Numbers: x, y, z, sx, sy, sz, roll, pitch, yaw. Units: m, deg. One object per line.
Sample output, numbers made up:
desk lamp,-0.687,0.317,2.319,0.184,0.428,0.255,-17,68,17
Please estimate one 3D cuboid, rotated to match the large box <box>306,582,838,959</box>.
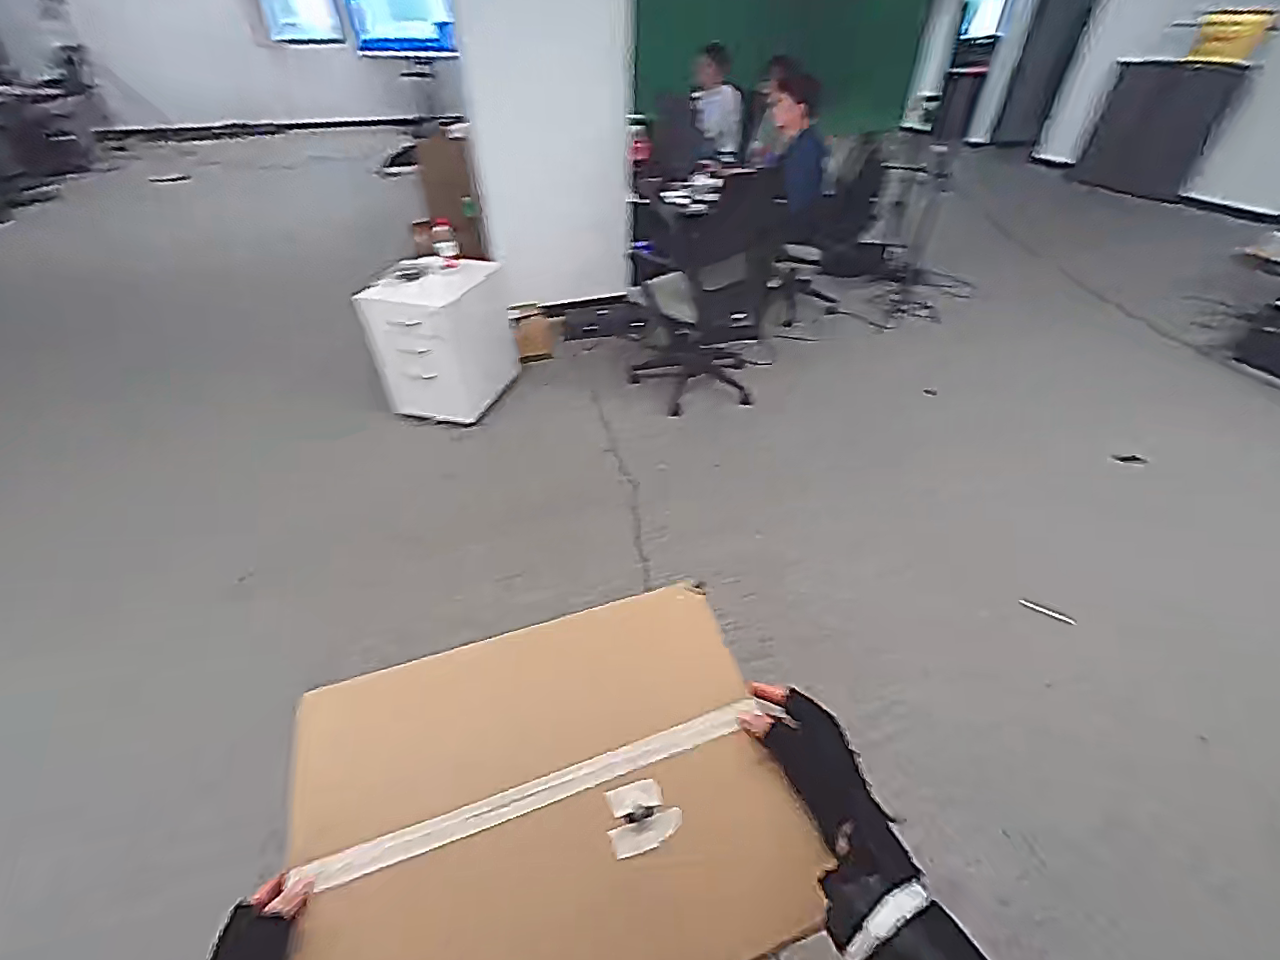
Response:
large box,-0.081,0.370,0.582,0.408,0.320,0.320,-13,49,-15
